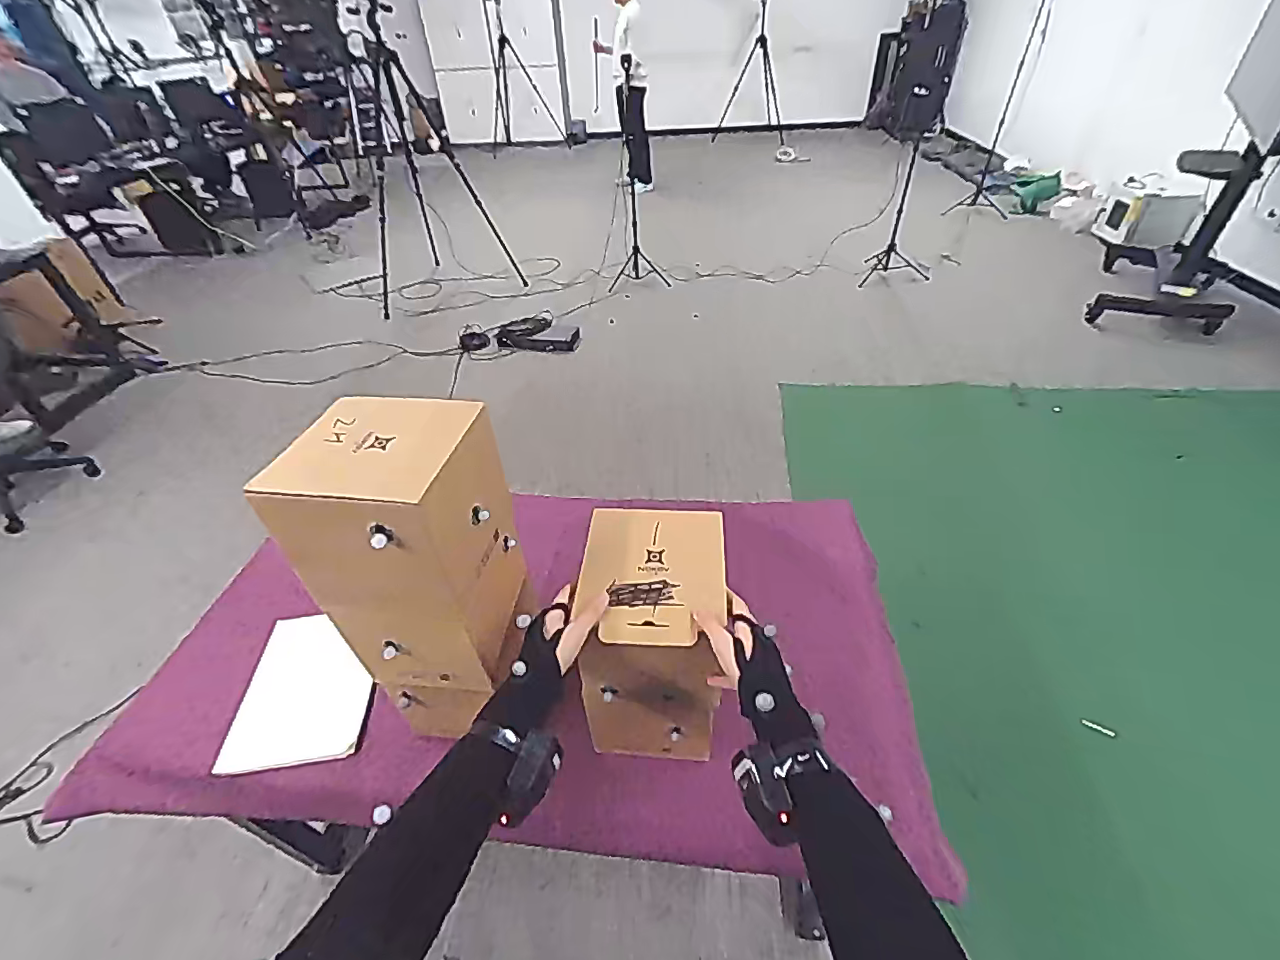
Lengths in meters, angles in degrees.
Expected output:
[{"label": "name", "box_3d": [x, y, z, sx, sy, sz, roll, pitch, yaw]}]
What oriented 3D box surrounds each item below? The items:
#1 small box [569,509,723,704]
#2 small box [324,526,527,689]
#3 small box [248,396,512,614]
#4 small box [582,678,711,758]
[{"label": "small box", "box_3d": [0.018, 0.157, 0.674, 0.168, 0.176, 0.179, 2, 40, 5]}, {"label": "small box", "box_3d": [-0.256, 0.148, 0.701, 0.168, 0.176, 0.179, 2, 40, 7]}, {"label": "small box", "box_3d": [-0.256, 0.027, 0.589, 0.179, 0.176, 0.168, 3, 40, 8]}, {"label": "small box", "box_3d": [0.020, 0.278, 0.784, 0.168, 0.176, 0.179, 3, 40, 6]}]
